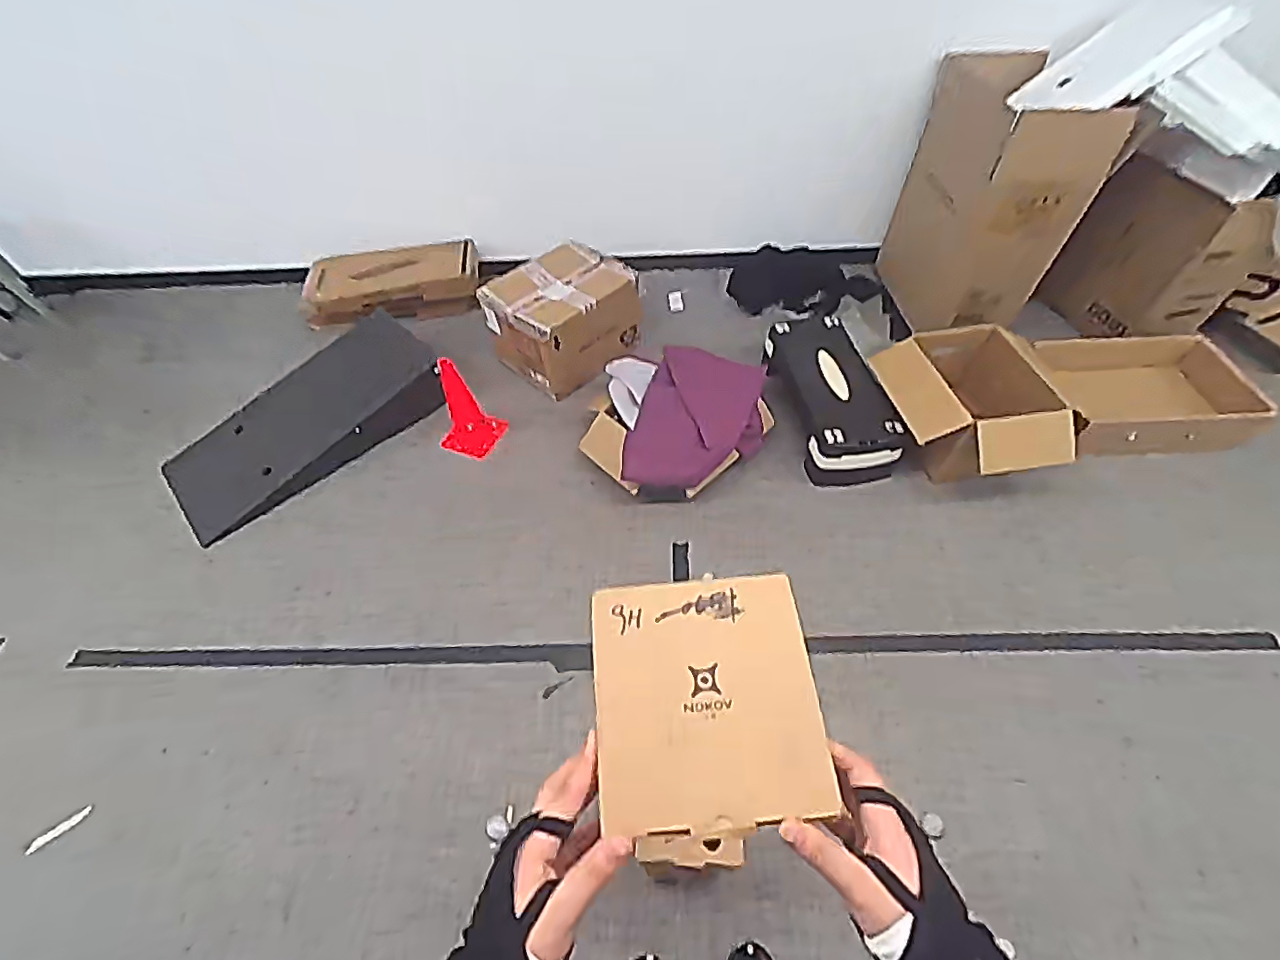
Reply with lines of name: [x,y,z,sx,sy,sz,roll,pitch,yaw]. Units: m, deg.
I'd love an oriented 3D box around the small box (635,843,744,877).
small box: [0.082,0.558,0.917,0.168,0.176,0.179,1,52,4]

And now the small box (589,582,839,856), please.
small box: [0.049,0.204,0.467,0.168,0.176,0.179,-5,60,-1]
